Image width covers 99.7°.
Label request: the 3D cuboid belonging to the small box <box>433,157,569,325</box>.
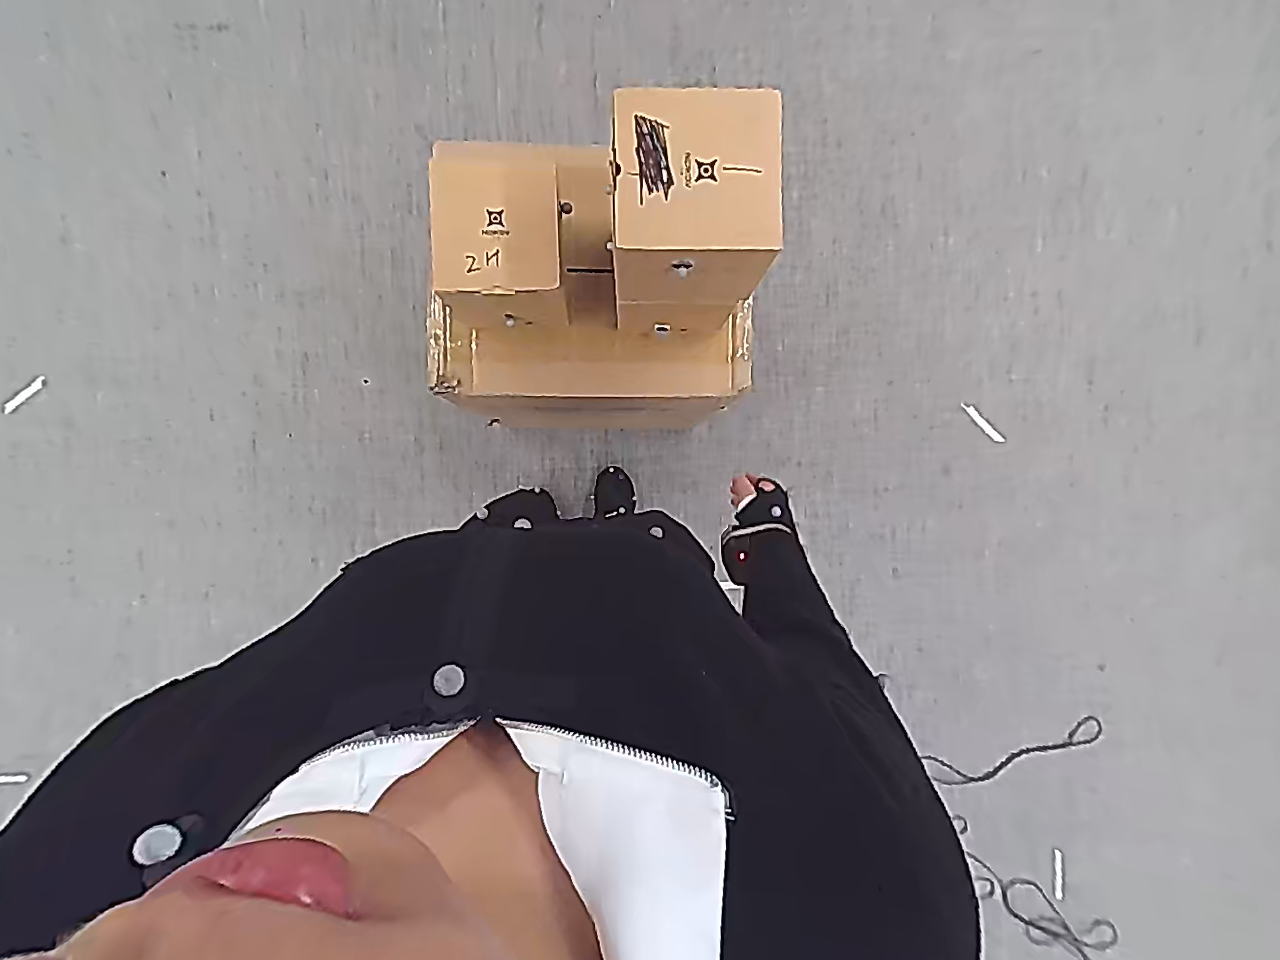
[{"bbox_3d":[-0.193,-0.336,0.788,0.168,0.176,0.179,-2,91,-4],"label":"small box"}]

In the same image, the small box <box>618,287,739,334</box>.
[{"bbox_3d":[0.050,-0.324,0.802,0.168,0.176,0.179,-1,92,0],"label":"small box"}]

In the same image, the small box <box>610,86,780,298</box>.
[{"bbox_3d":[0.056,-0.322,0.637,0.179,0.176,0.168,0,91,-1],"label":"small box"}]
